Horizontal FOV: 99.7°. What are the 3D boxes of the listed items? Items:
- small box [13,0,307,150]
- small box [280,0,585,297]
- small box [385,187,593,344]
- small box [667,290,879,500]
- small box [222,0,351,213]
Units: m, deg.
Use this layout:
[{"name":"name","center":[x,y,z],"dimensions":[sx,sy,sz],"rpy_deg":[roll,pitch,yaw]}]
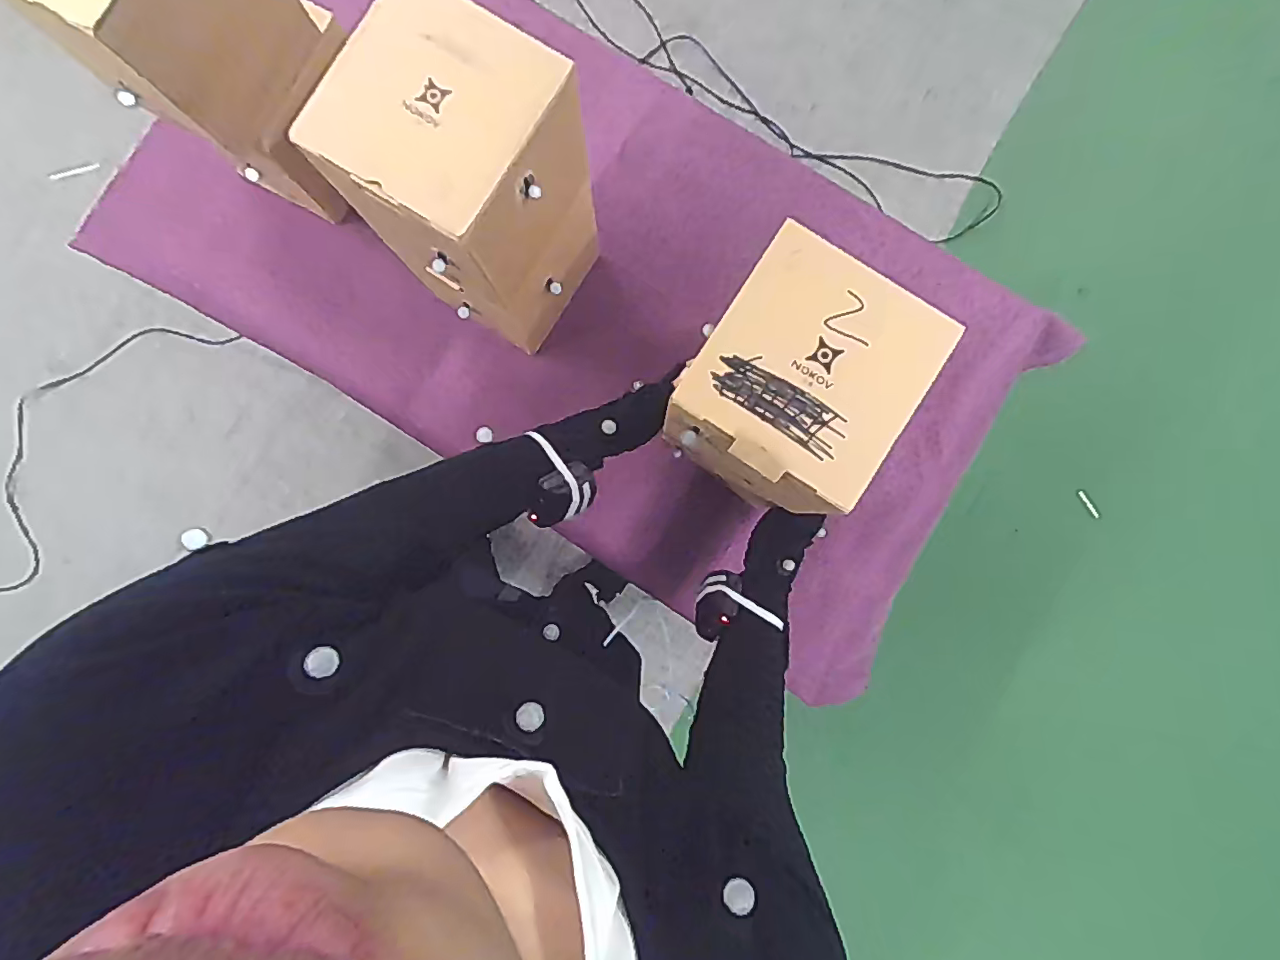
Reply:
[{"name":"small box","center":[-0.461,-0.469,0.512],"dimensions":[0.168,0.176,0.179],"rpy_deg":[29,88,1]},{"name":"small box","center":[-0.162,-0.300,0.492],"dimensions":[0.168,0.176,0.179],"rpy_deg":[32,87,1]},{"name":"small box","center":[-0.169,-0.297,0.674],"dimensions":[0.168,0.176,0.179],"rpy_deg":[29,87,2]},{"name":"small box","center":[0.147,-0.089,0.665],"dimensions":[0.168,0.176,0.179],"rpy_deg":[37,87,1]},{"name":"small box","center":[-0.451,-0.482,0.677],"dimensions":[0.168,0.176,0.179],"rpy_deg":[27,88,0]}]
